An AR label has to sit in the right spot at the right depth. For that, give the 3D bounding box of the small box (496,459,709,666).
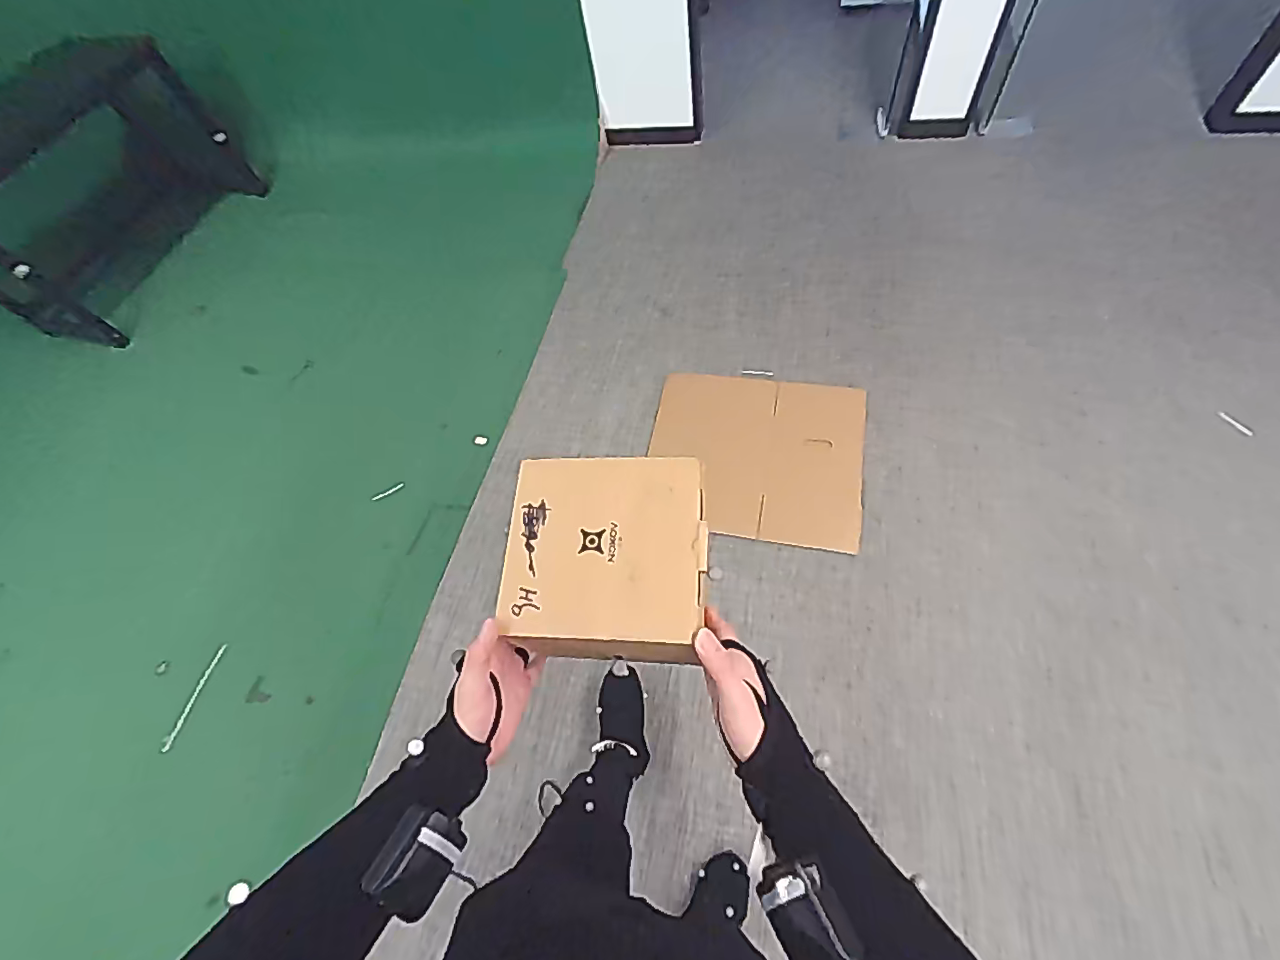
[{"bbox_3d":[-0.021,0.090,0.546,0.179,0.176,0.168,1,65,8],"label":"small box"}]
